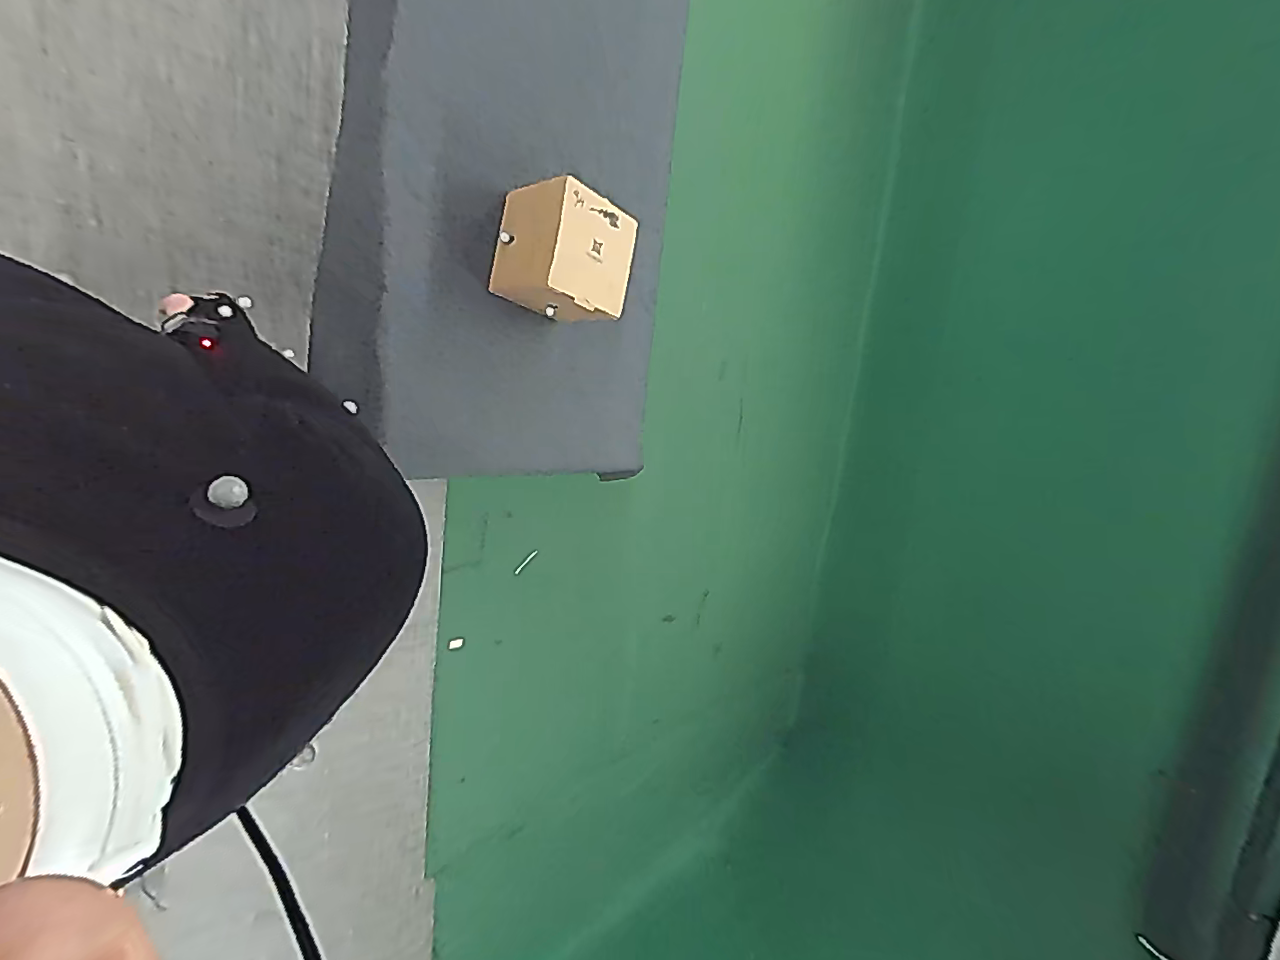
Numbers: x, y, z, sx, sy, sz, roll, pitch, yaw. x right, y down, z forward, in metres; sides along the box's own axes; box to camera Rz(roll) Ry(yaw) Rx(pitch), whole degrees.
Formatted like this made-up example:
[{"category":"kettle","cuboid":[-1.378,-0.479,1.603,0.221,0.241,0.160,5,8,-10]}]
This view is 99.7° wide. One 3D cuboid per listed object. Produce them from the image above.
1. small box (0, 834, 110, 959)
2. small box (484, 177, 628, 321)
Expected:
[{"category":"small box","cuboid":[-1.269,0.921,1.163,0.168,0.176,0.179,-1,102,-51]},{"category":"small box","cuboid":[-0.150,-0.390,0.946,0.168,0.176,0.179,9,94,-50]}]
